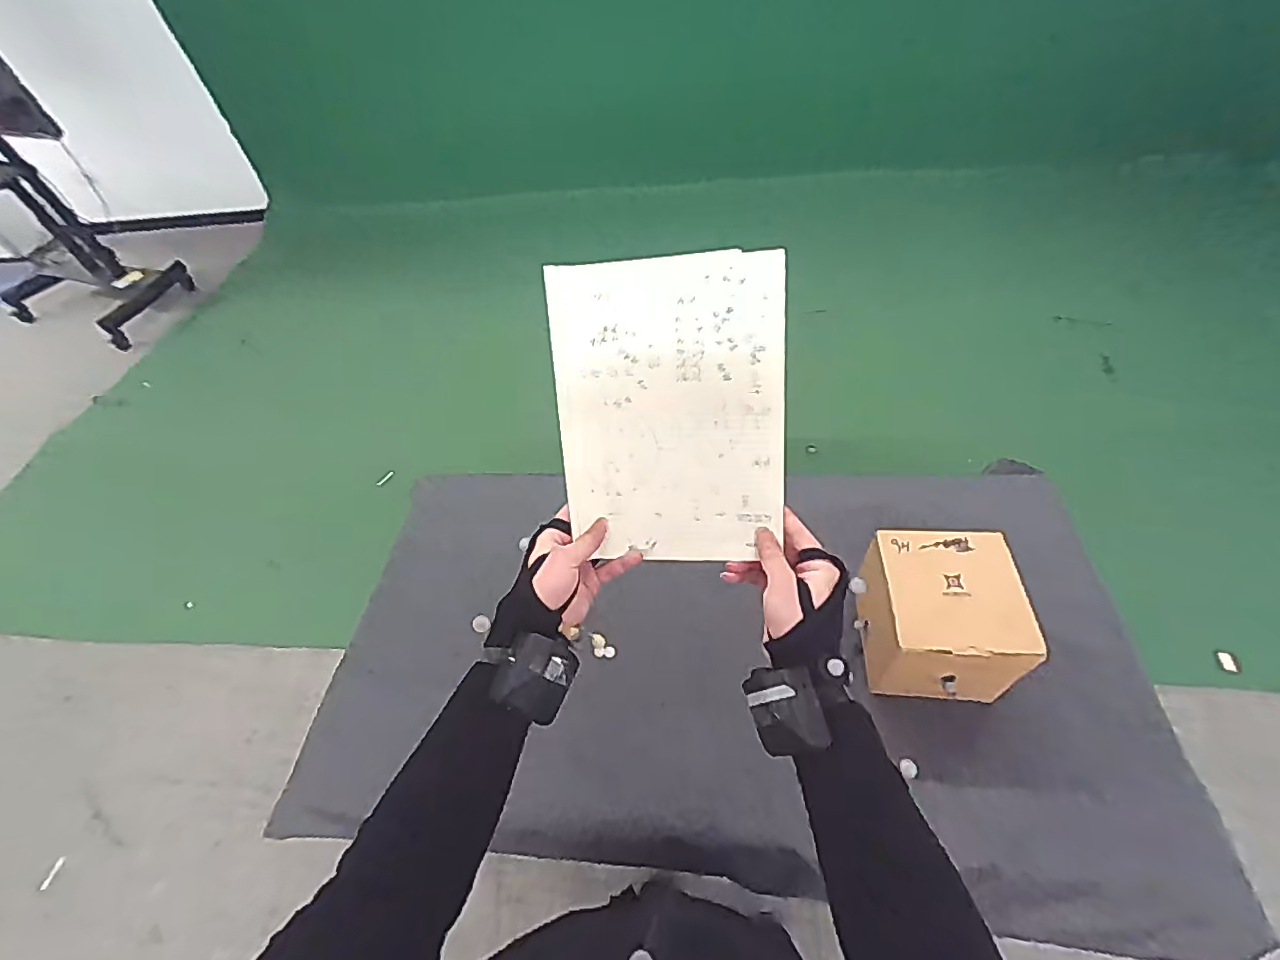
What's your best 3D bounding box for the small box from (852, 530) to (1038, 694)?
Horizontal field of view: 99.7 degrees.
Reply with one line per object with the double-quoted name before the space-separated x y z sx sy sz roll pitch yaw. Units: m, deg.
"small box" 0.408 0.189 0.761 0.168 0.176 0.179 1 53 8
